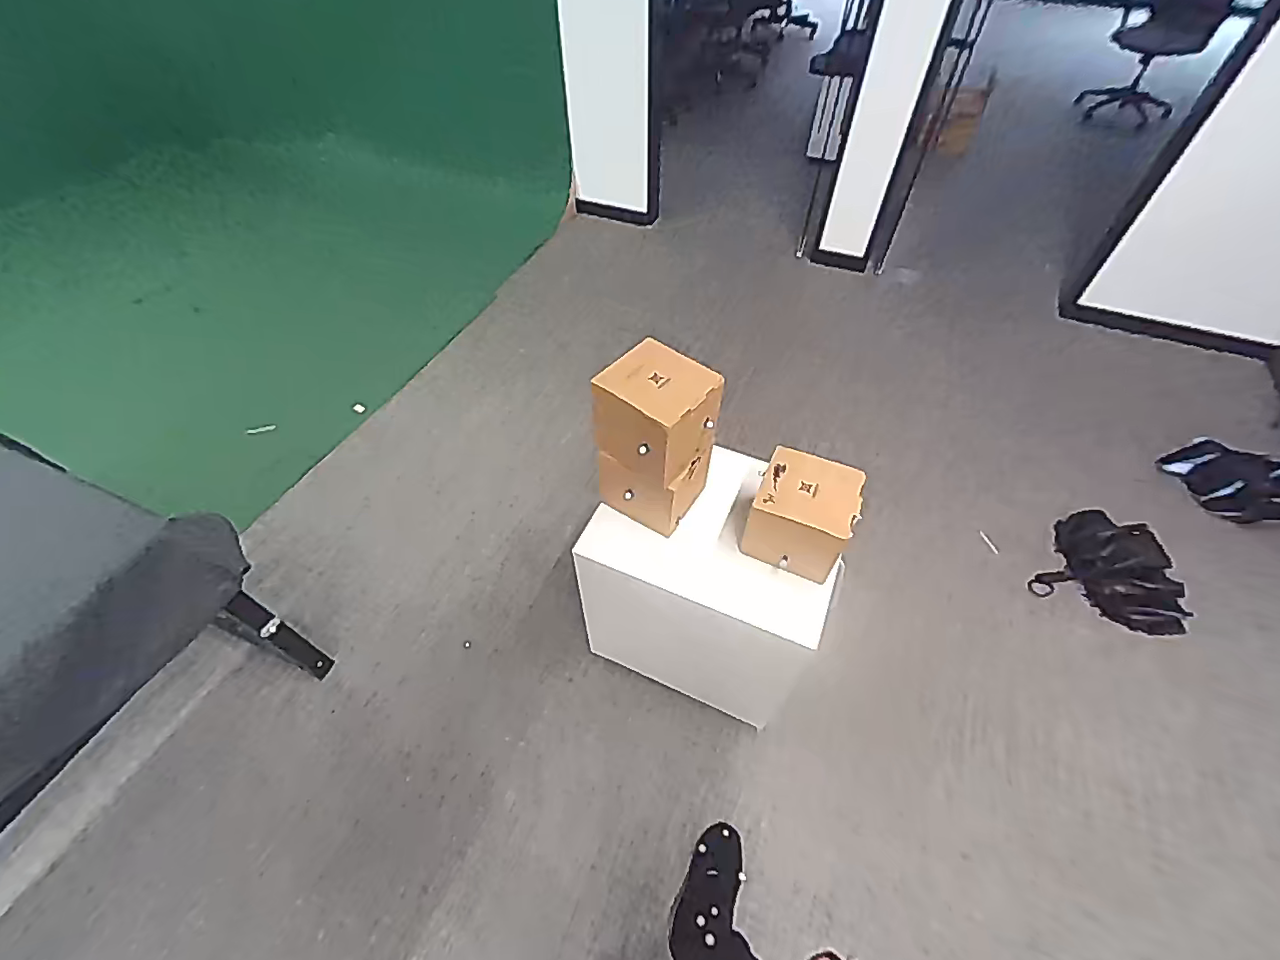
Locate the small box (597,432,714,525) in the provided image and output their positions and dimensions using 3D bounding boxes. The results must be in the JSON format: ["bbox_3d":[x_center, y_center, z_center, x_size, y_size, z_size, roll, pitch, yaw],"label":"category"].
[{"bbox_3d":[0.029,-0.032,1.117,0.179,0.176,0.168,28,55,18],"label":"small box"}]

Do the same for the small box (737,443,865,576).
[{"bbox_3d":[0.308,0.064,1.056,0.179,0.176,0.168,22,54,14],"label":"small box"}]

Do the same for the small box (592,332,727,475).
[{"bbox_3d":[0.032,-0.134,0.992,0.179,0.176,0.168,34,56,22],"label":"small box"}]
